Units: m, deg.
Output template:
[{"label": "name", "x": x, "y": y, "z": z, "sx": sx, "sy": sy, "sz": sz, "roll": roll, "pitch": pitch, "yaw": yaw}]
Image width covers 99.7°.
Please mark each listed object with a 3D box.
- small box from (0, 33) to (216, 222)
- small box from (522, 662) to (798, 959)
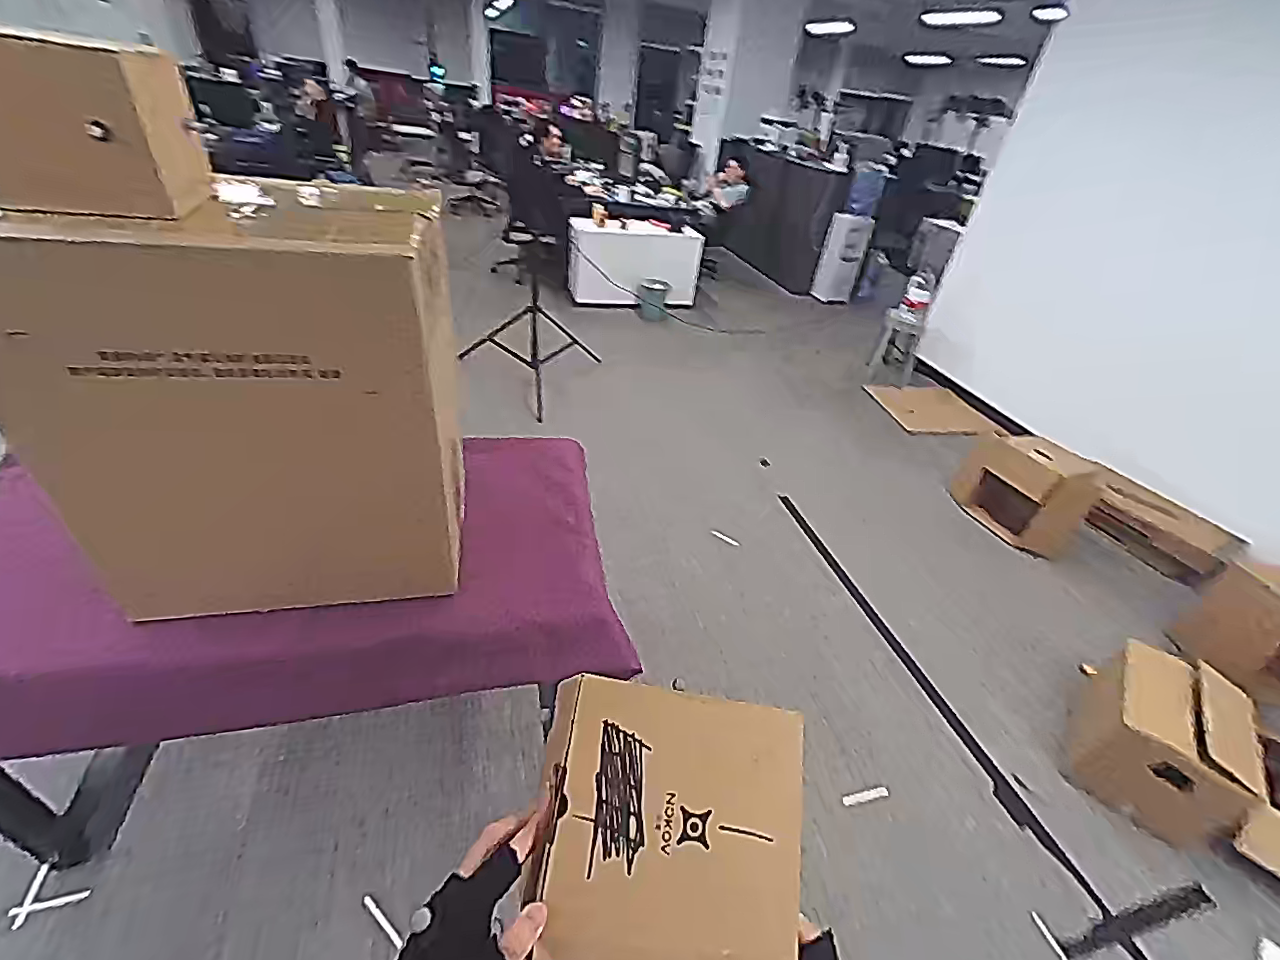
[{"label": "small box", "x": -0.659, "y": -0.421, "z": 0.655, "sx": 0.179, "sy": 0.176, "sz": 0.168, "roll": -5, "pitch": 37, "yaw": -17}, {"label": "small box", "x": 0.007, "y": 0.252, "z": 0.437, "sx": 0.179, "sy": 0.176, "sz": 0.168, "roll": 13, "pitch": 65, "yaw": -9}]
